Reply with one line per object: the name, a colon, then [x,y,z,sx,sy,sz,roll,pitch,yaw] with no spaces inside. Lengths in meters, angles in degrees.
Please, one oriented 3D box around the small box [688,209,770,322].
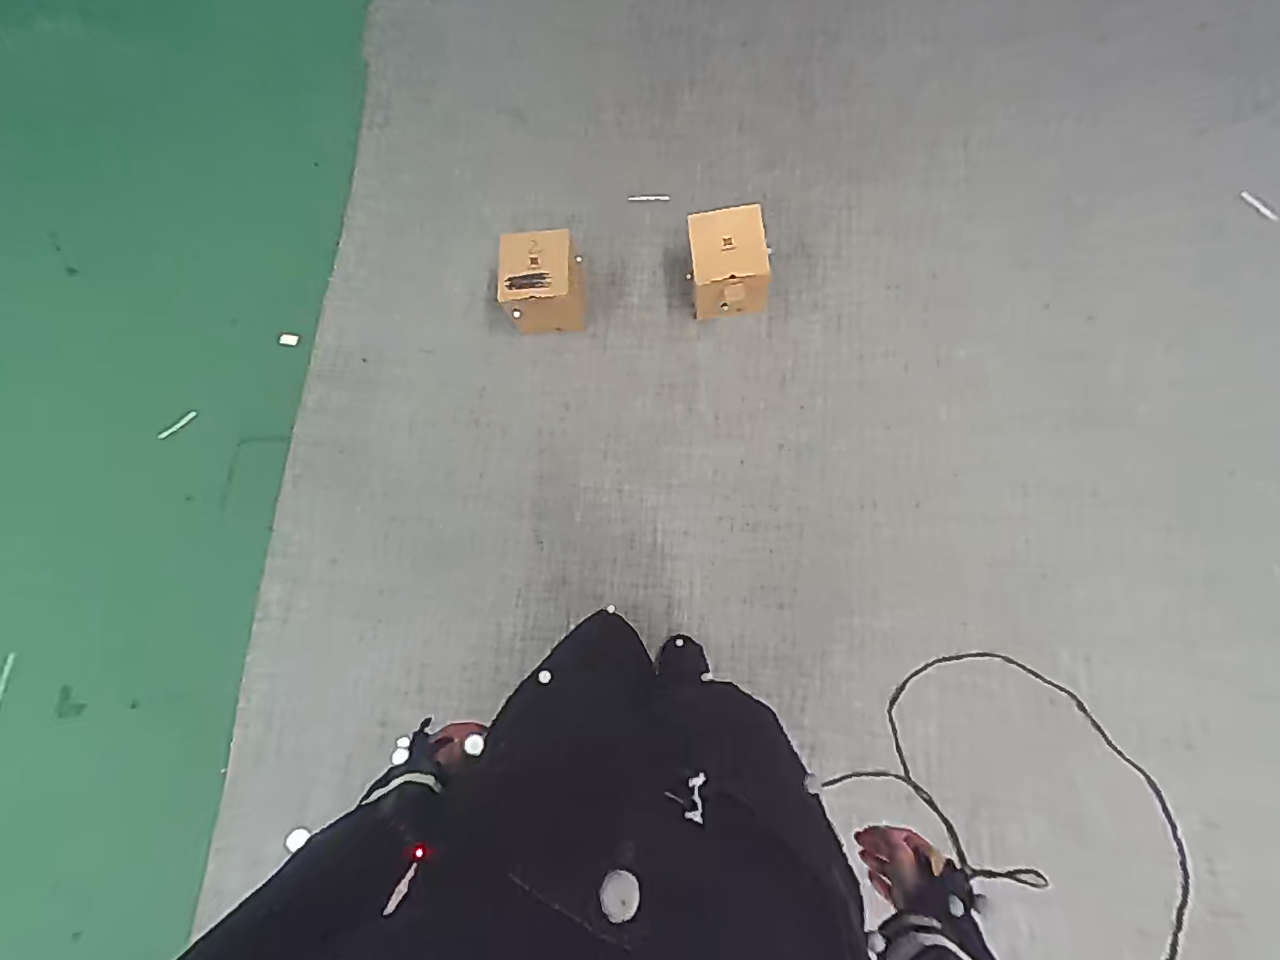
small box: [0.203,-0.498,1.273,0.168,0.176,0.179,-7,78,5]
